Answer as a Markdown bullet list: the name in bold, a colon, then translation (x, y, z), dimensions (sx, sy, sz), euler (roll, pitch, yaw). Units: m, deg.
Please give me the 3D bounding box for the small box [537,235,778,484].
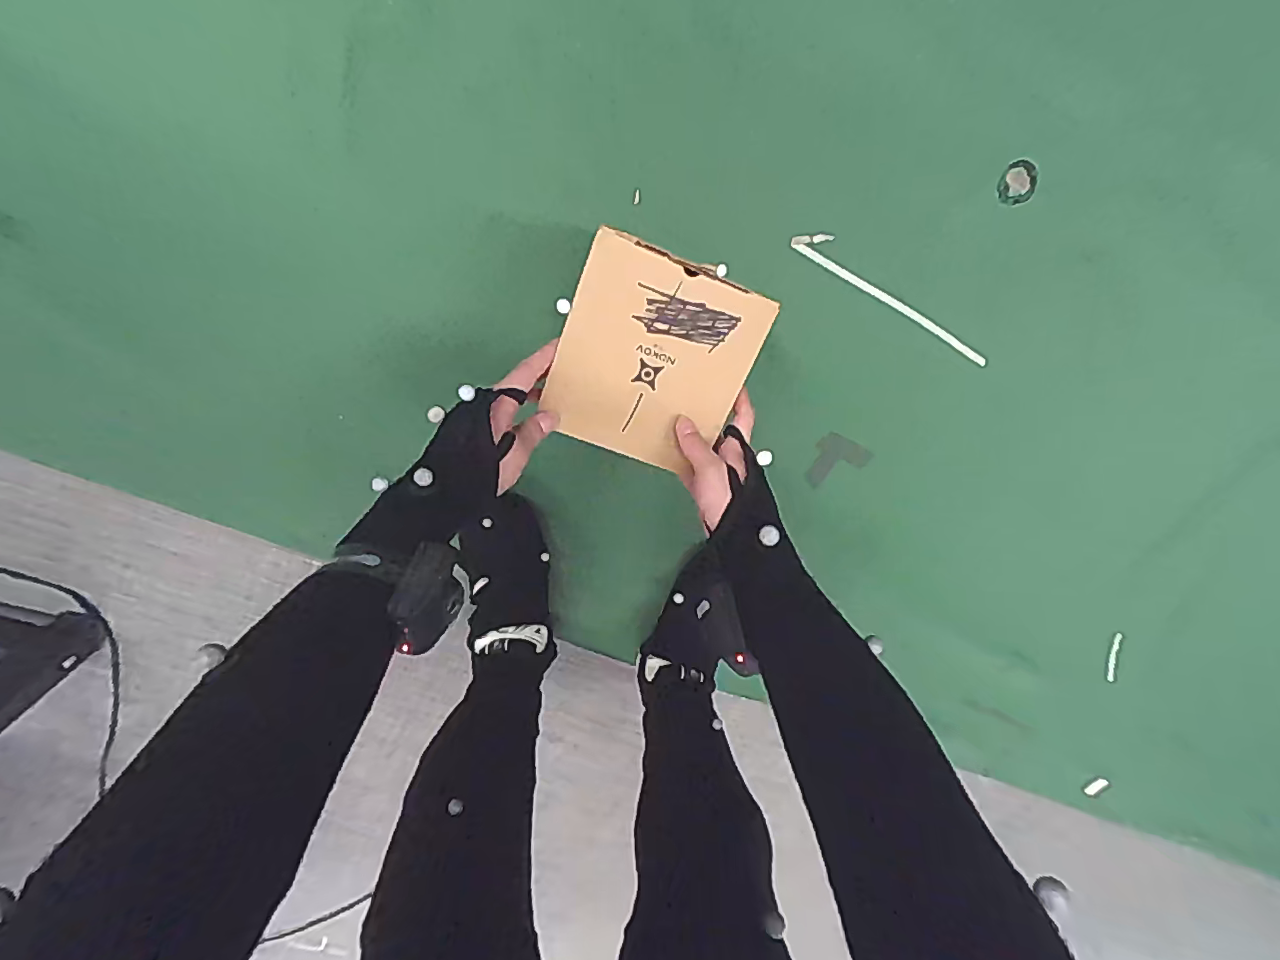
- **small box**: translation (0.007, -0.128, 0.545), dimensions (0.168, 0.176, 0.179), euler (19, 112, -11)
